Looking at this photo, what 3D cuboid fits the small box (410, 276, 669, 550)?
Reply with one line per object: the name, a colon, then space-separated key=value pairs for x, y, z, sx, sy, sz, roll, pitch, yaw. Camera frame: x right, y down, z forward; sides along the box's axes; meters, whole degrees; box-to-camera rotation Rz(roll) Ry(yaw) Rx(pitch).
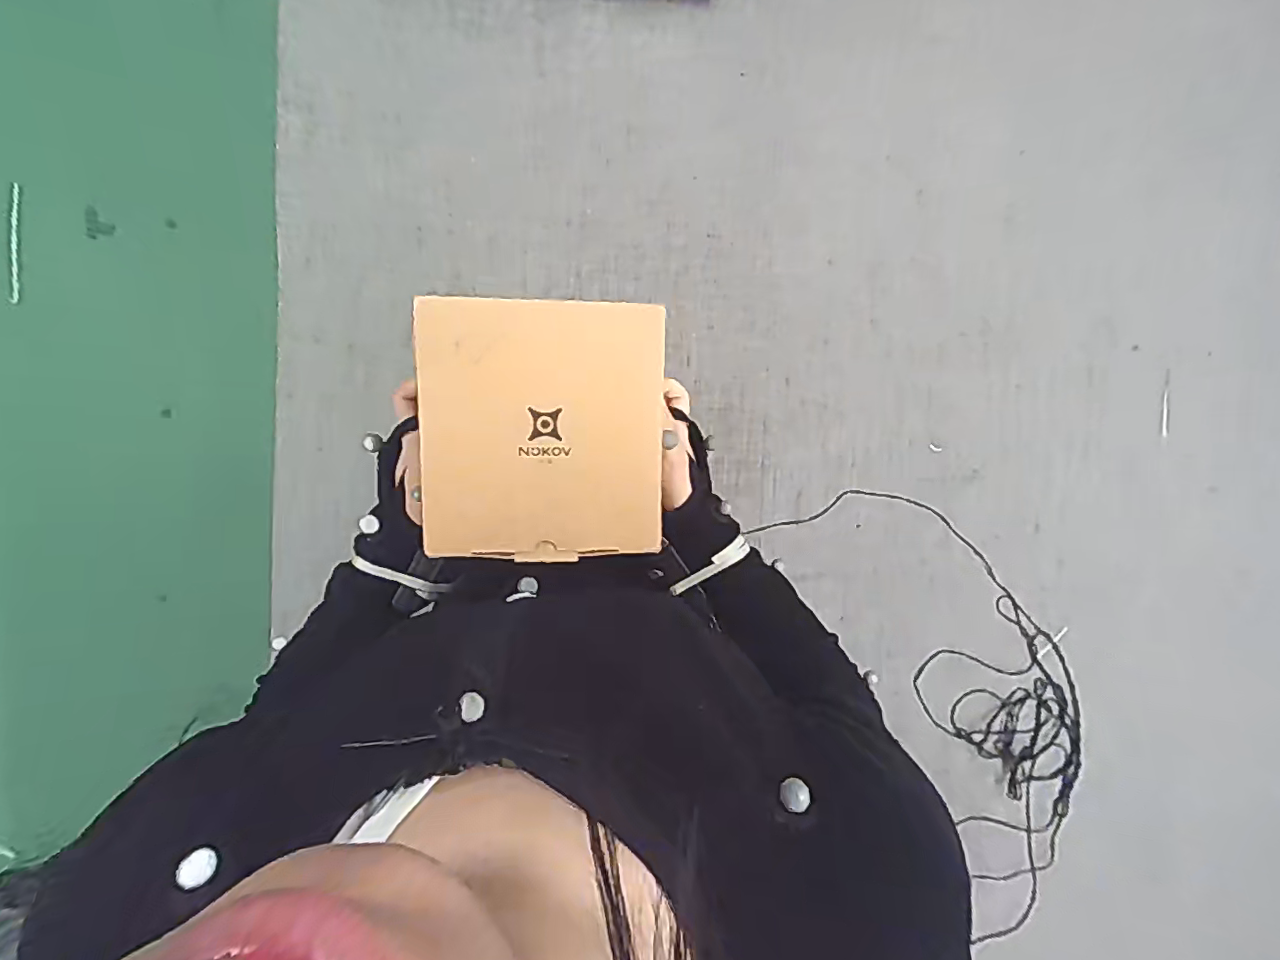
small box: x=-0.074 y=-0.050 z=0.431 sx=0.168 sy=0.176 sz=0.179 roll=0 pitch=98 yaw=-7
